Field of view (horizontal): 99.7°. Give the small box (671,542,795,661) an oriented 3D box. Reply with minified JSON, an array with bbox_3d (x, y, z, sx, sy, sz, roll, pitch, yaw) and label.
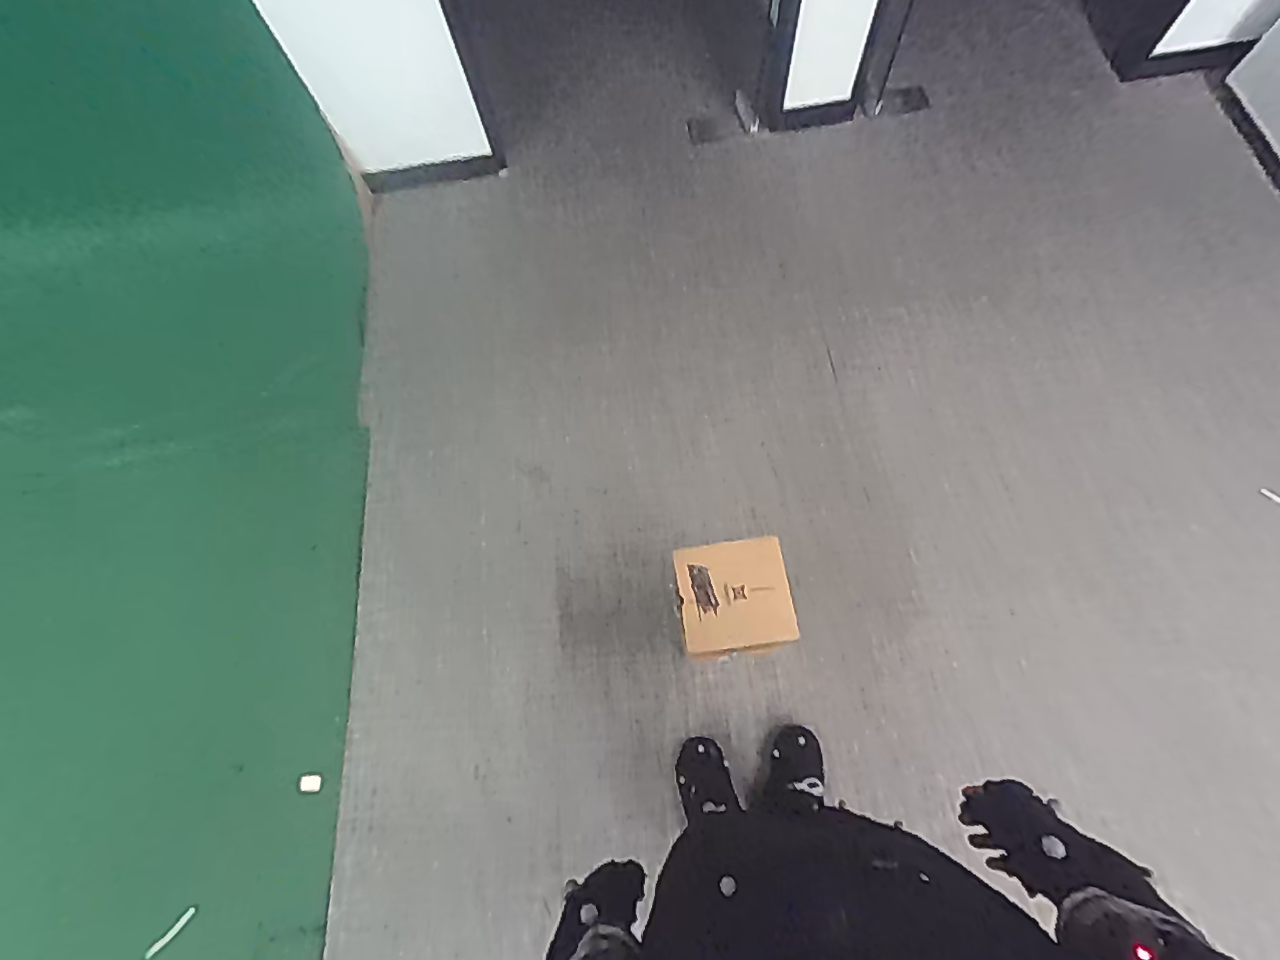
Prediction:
[{"bbox_3d":[0.153,0.217,0.940,0.179,0.176,0.168,-8,69,2],"label":"small box"}]

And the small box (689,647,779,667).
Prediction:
[{"bbox_3d":[0.167,0.270,1.077,0.168,0.176,0.179,-9,70,3],"label":"small box"}]
